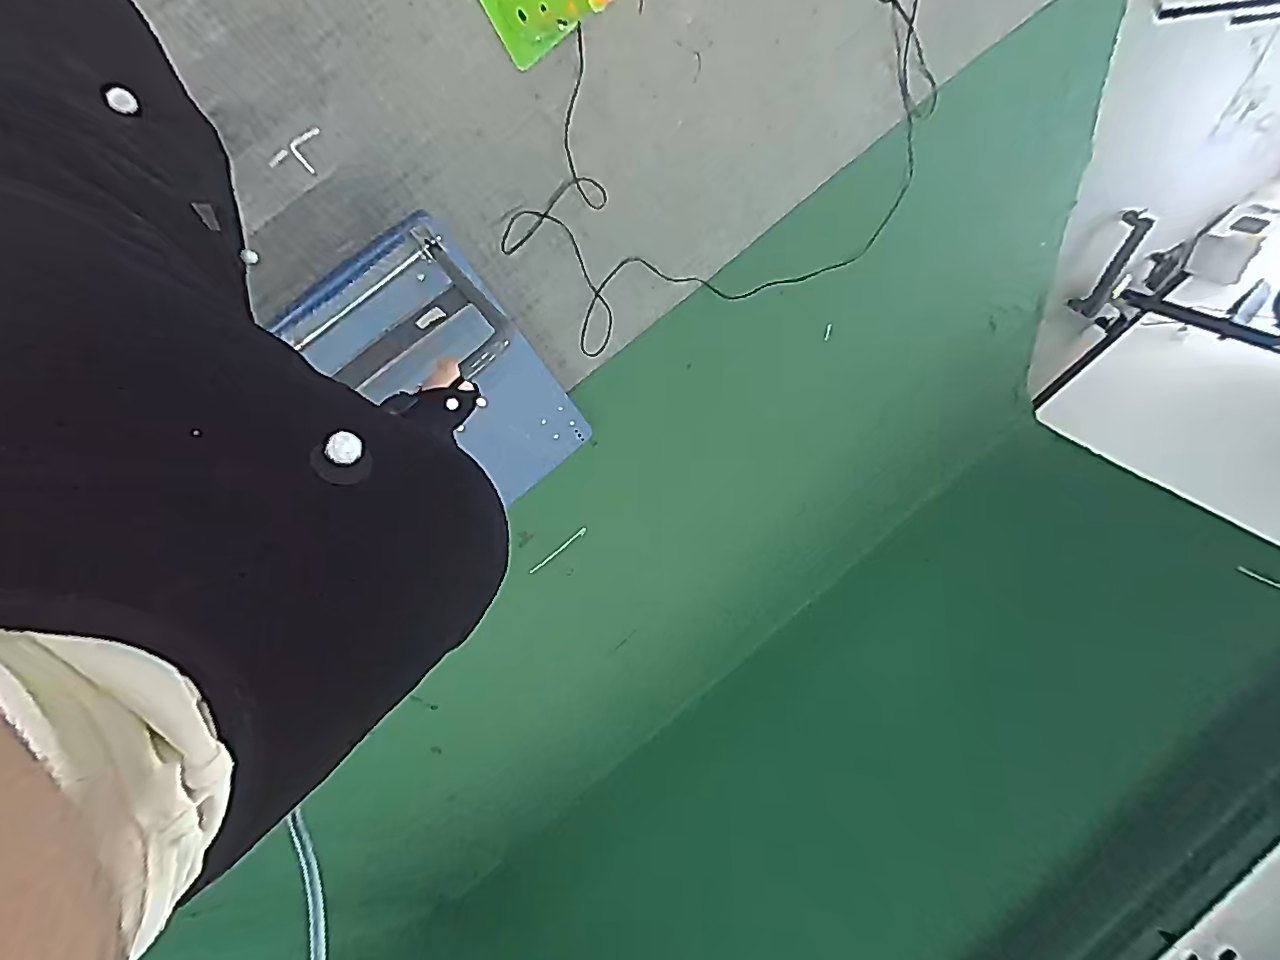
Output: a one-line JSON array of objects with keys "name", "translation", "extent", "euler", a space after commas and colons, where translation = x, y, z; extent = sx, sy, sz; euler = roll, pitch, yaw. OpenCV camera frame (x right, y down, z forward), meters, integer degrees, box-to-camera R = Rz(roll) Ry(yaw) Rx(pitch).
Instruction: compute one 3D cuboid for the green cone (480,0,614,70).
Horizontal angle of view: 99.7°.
[{"name": "green cone", "translation": [-0.161, -0.997, 1.122], "extent": [0.202, 0.368, 0.200], "euler": [-44, 140, 0]}]
